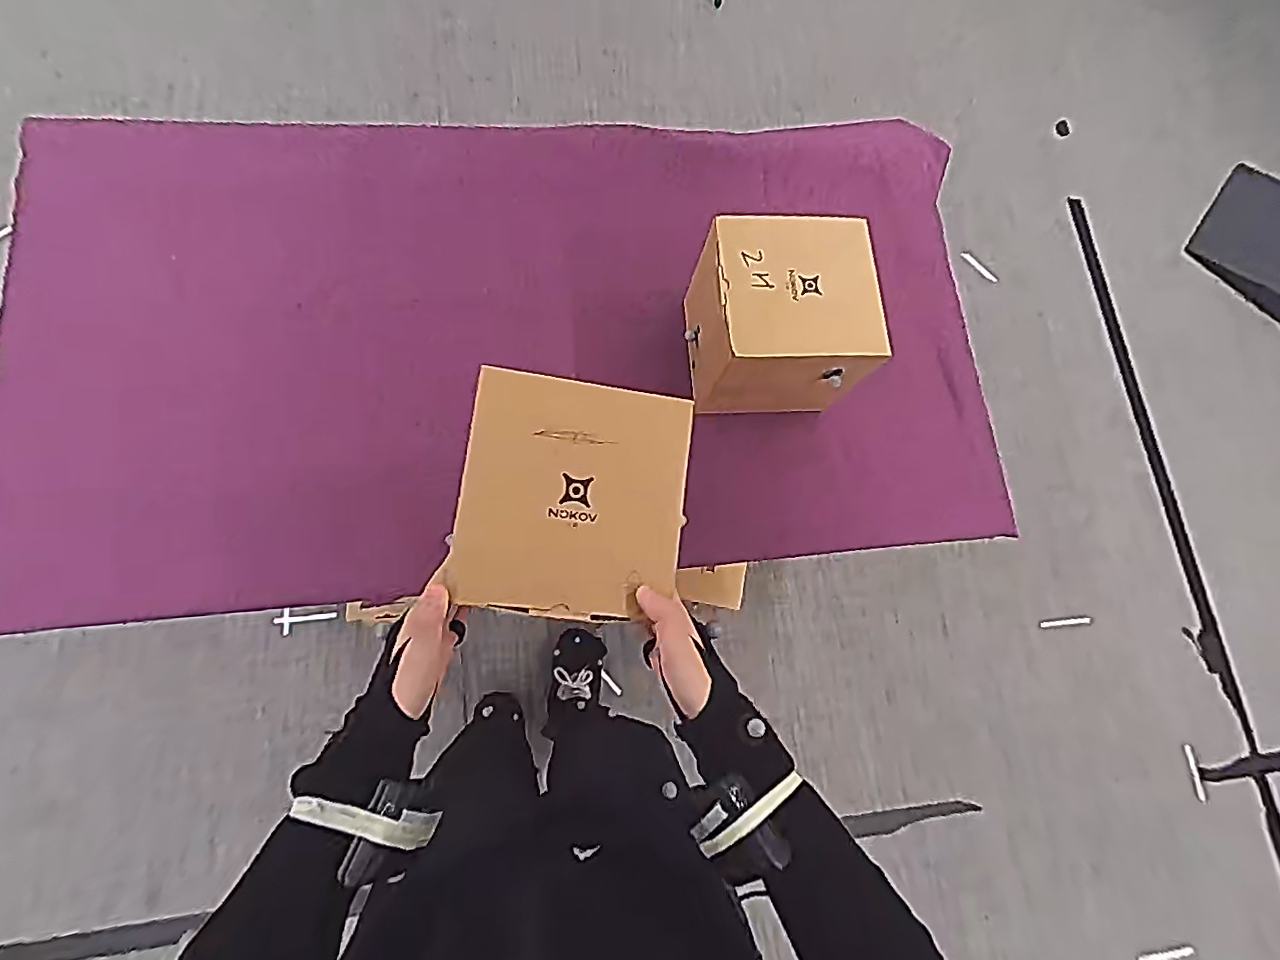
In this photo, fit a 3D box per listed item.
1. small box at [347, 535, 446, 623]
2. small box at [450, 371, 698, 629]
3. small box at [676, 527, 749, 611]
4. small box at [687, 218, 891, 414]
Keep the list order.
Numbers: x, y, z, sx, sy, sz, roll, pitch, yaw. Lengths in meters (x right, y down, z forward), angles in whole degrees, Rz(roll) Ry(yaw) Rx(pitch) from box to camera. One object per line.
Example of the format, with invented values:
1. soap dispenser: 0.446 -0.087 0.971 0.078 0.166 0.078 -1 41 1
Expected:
1. small box: -0.540 0.224 1.220 0.168 0.176 0.179 -3 77 -8
2. small box: -0.059 0.025 0.478 0.168 0.176 0.179 8 81 -11
3. small box: 0.146 0.217 1.309 0.179 0.176 0.168 12 77 -3
4. small box: 0.163 -0.183 0.646 0.179 0.176 0.168 -3 77 -7
